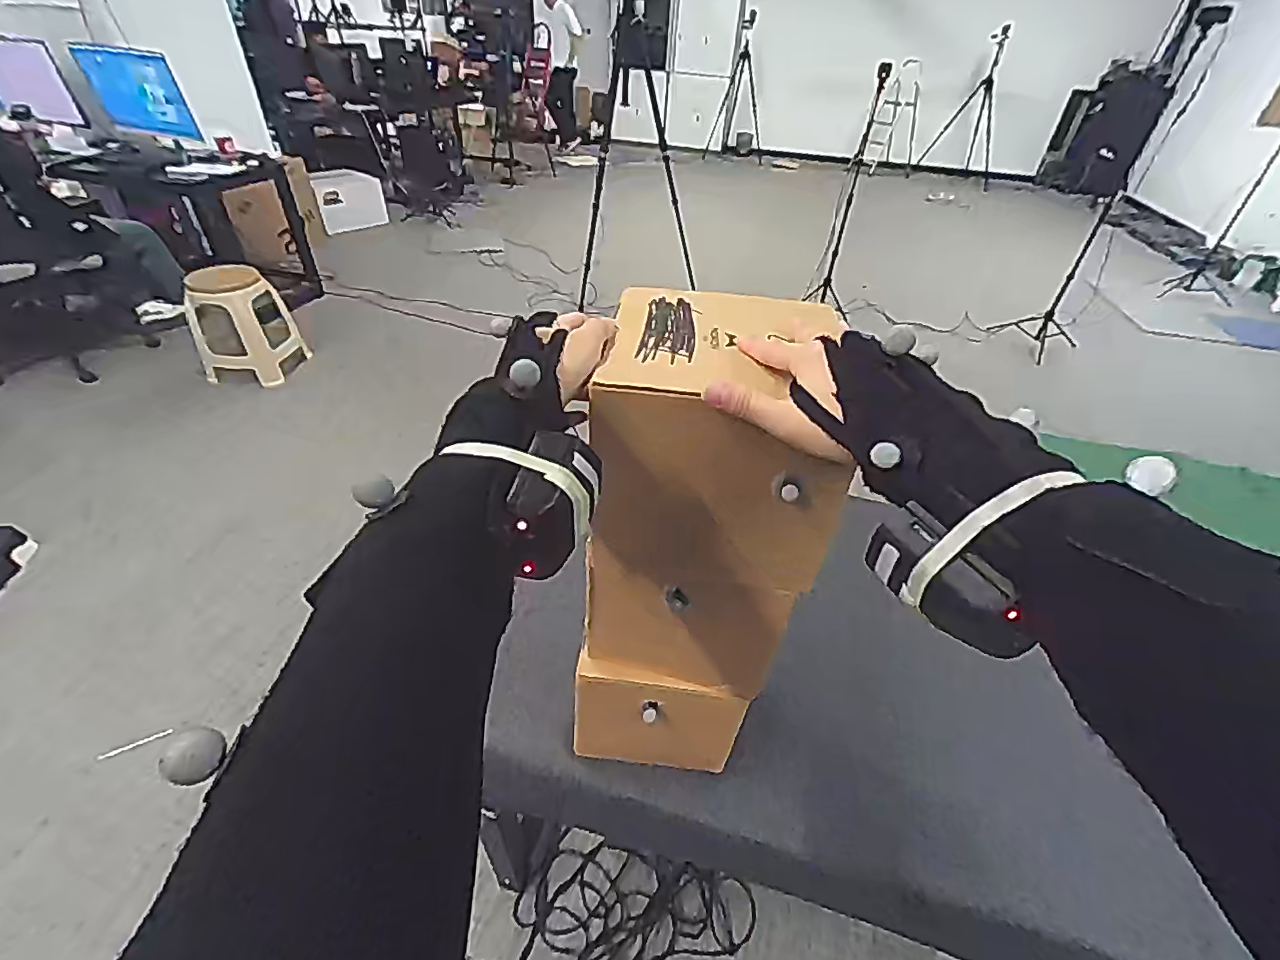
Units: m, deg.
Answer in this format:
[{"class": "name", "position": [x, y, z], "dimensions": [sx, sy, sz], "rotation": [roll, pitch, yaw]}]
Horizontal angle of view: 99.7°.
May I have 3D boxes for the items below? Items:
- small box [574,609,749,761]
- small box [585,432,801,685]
[{"class": "small box", "position": [0.024, 0.209, 0.638], "dimensions": [0.179, 0.176, 0.168], "rotation": [6, 39, 2]}, {"class": "small box", "position": [0.052, 0.078, 0.543], "dimensions": [0.179, 0.176, 0.168], "rotation": [13, 41, 9]}]
